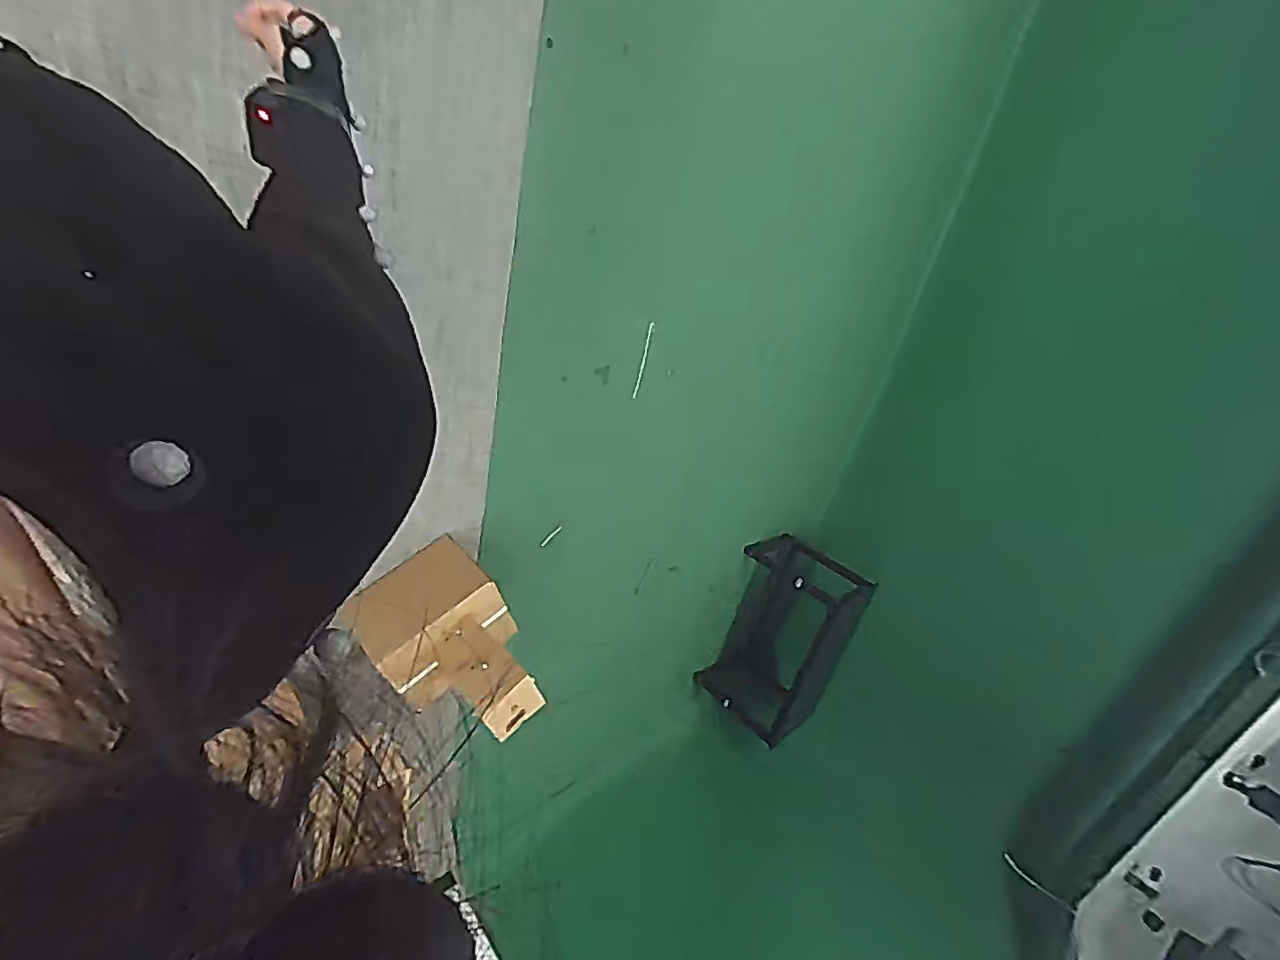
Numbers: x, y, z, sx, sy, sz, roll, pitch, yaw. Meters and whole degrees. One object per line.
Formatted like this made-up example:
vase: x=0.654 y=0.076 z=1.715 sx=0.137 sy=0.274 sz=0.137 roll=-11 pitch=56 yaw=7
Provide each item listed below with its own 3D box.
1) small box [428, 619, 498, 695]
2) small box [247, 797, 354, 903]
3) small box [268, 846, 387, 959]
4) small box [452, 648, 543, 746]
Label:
small box: x=-0.526 y=0.569 z=1.691 sx=0.168 sy=0.176 sz=0.179 roll=-41 pitch=140 yaw=-22
small box: x=-0.880 y=0.968 z=1.405 sx=0.168 sy=0.176 sz=0.179 roll=-33 pitch=137 yaw=-27
small box: x=-0.759 y=1.038 z=1.318 sx=0.168 sy=0.176 sz=0.179 roll=-38 pitch=140 yaw=-24
small box: x=-0.417 y=0.630 z=1.585 sx=0.168 sy=0.176 sz=0.179 roll=-37 pitch=138 yaw=-26
